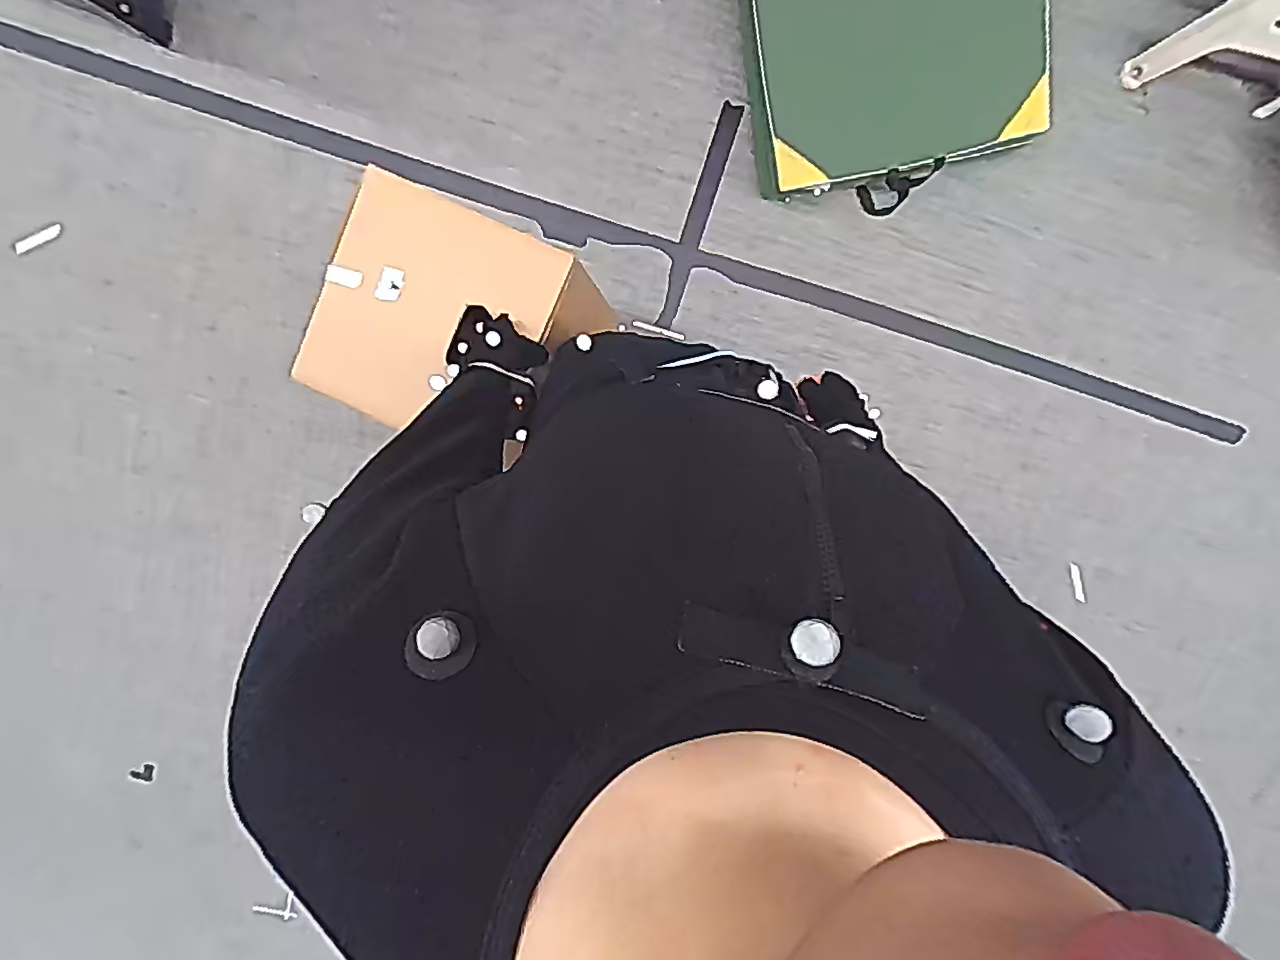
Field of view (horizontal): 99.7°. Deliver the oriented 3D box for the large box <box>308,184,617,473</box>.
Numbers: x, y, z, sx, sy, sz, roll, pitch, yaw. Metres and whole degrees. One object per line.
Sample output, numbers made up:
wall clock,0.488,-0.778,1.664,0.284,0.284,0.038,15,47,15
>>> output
large box,-0.265,-0.230,0.936,0.320,0.408,0.320,27,98,2
